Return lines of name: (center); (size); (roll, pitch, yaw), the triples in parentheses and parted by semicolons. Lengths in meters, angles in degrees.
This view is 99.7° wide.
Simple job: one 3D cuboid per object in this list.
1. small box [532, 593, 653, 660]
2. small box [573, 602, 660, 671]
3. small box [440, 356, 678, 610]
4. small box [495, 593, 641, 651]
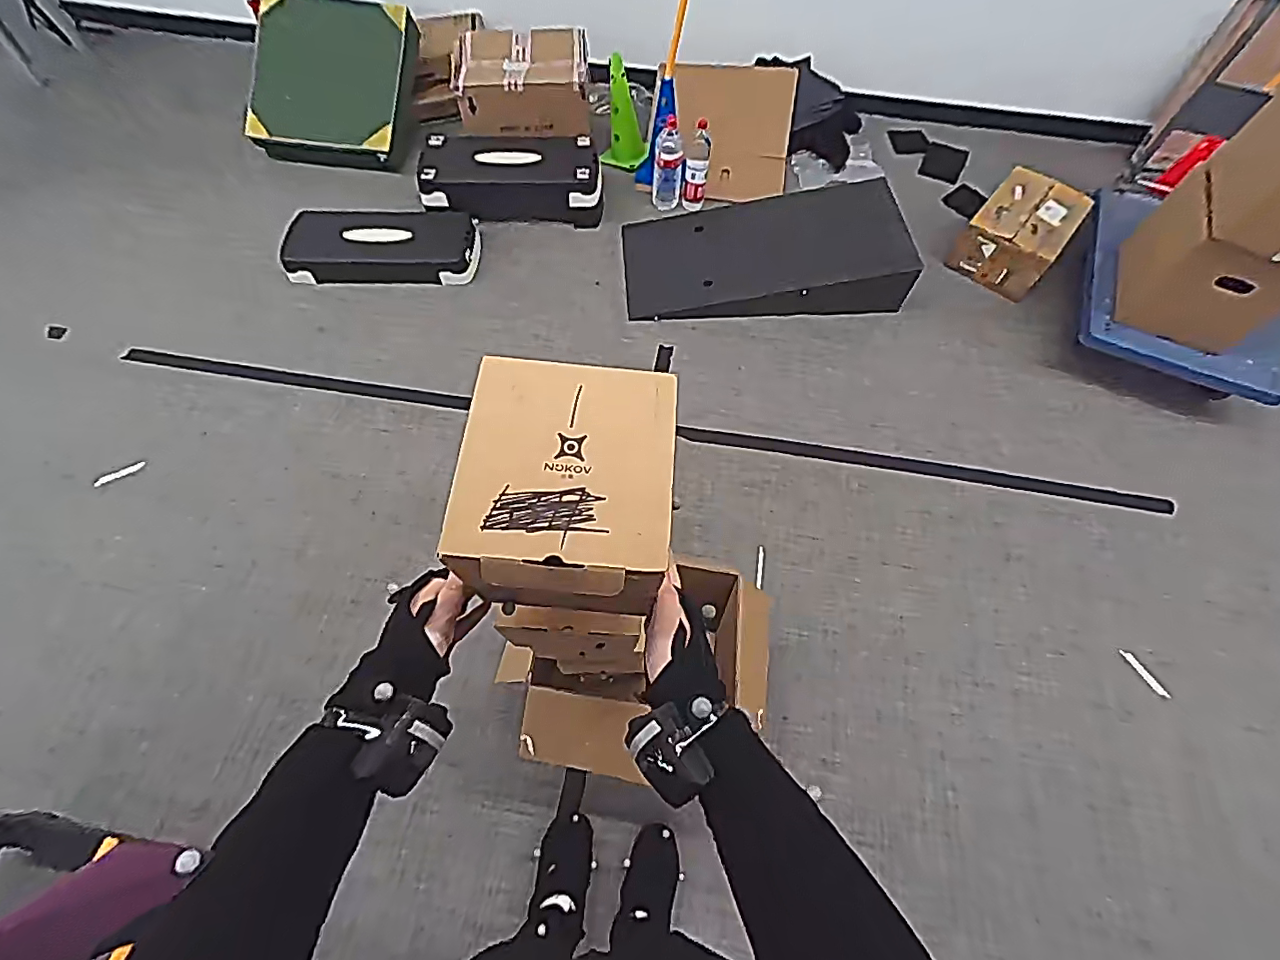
small box: (-0.072, 0.189, 0.855); (0.179, 0.176, 0.168); (5, 67, -3)
small box: (-0.063, 0.307, 1.164); (0.179, 0.176, 0.168); (-8, 67, -9)
small box: (-0.060, 0.015, 0.493); (0.168, 0.176, 0.179); (6, 65, -2)
small box: (-0.079, 0.121, 0.706); (0.168, 0.176, 0.179); (6, 66, -3)
